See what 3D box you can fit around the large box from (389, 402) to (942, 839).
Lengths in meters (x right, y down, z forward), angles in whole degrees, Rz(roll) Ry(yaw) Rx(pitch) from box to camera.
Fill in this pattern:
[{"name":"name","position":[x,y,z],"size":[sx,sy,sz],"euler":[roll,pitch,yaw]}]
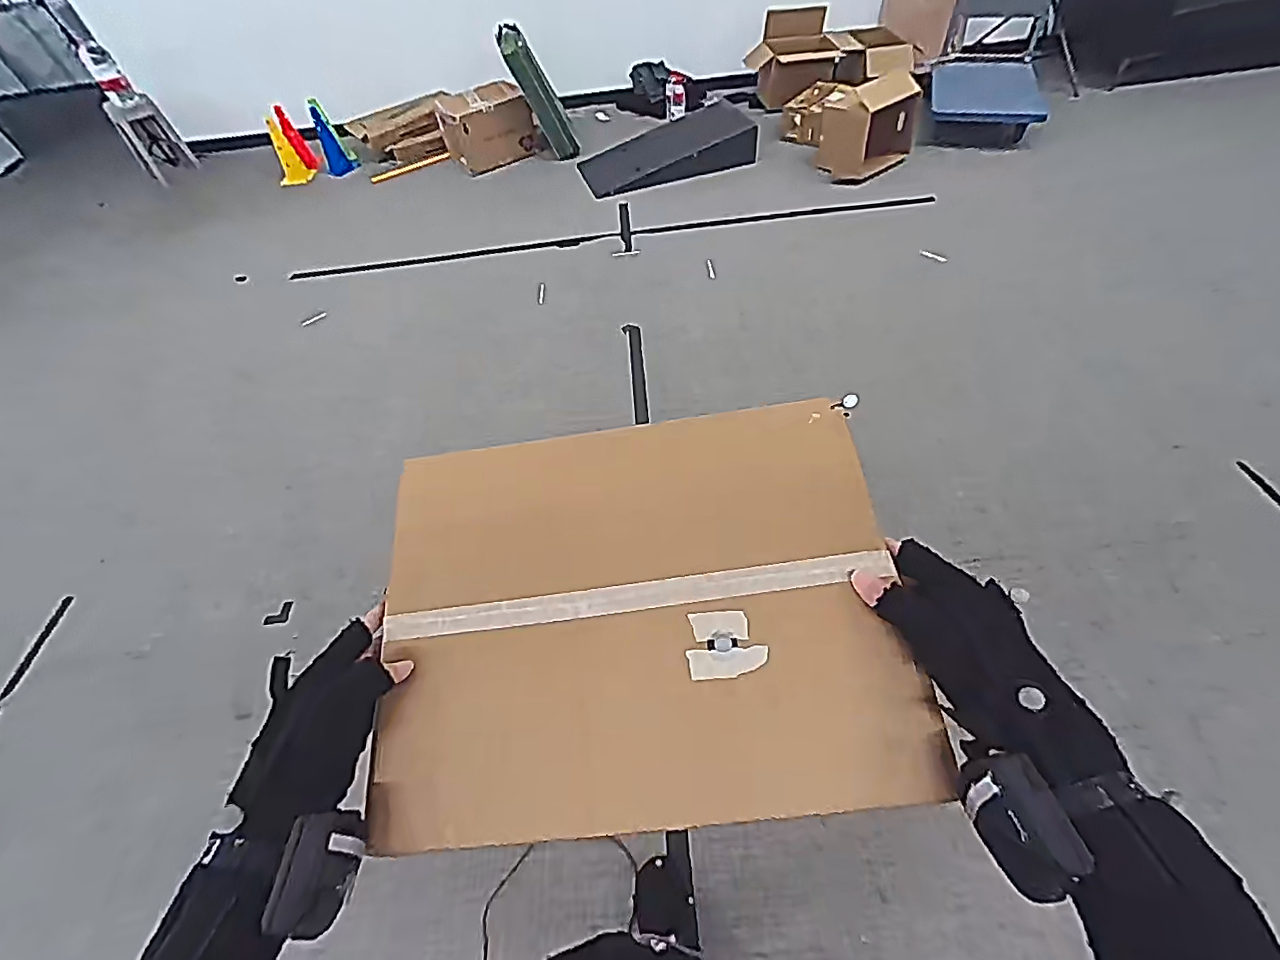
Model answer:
[{"name":"large box","position":[0.013,0.158,0.576],"size":[0.408,0.320,0.320],"euler":[-8,64,4]}]
